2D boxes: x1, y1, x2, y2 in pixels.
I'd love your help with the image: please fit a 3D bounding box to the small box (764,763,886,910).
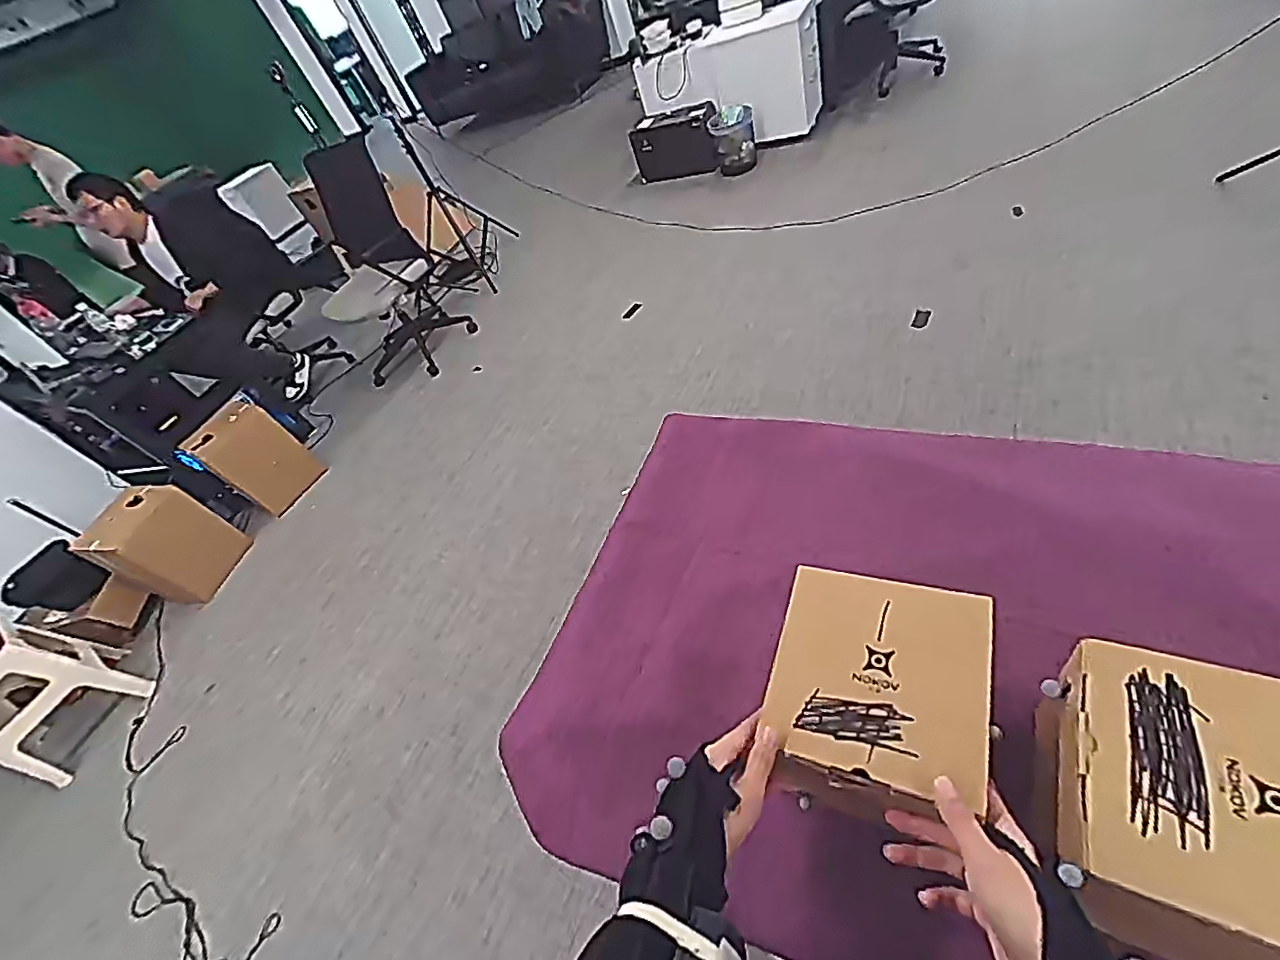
[{"bbox_3d":[0.333,0.627,0.957,0.179,0.176,0.168,4,55,27],"label":"small box"}]
